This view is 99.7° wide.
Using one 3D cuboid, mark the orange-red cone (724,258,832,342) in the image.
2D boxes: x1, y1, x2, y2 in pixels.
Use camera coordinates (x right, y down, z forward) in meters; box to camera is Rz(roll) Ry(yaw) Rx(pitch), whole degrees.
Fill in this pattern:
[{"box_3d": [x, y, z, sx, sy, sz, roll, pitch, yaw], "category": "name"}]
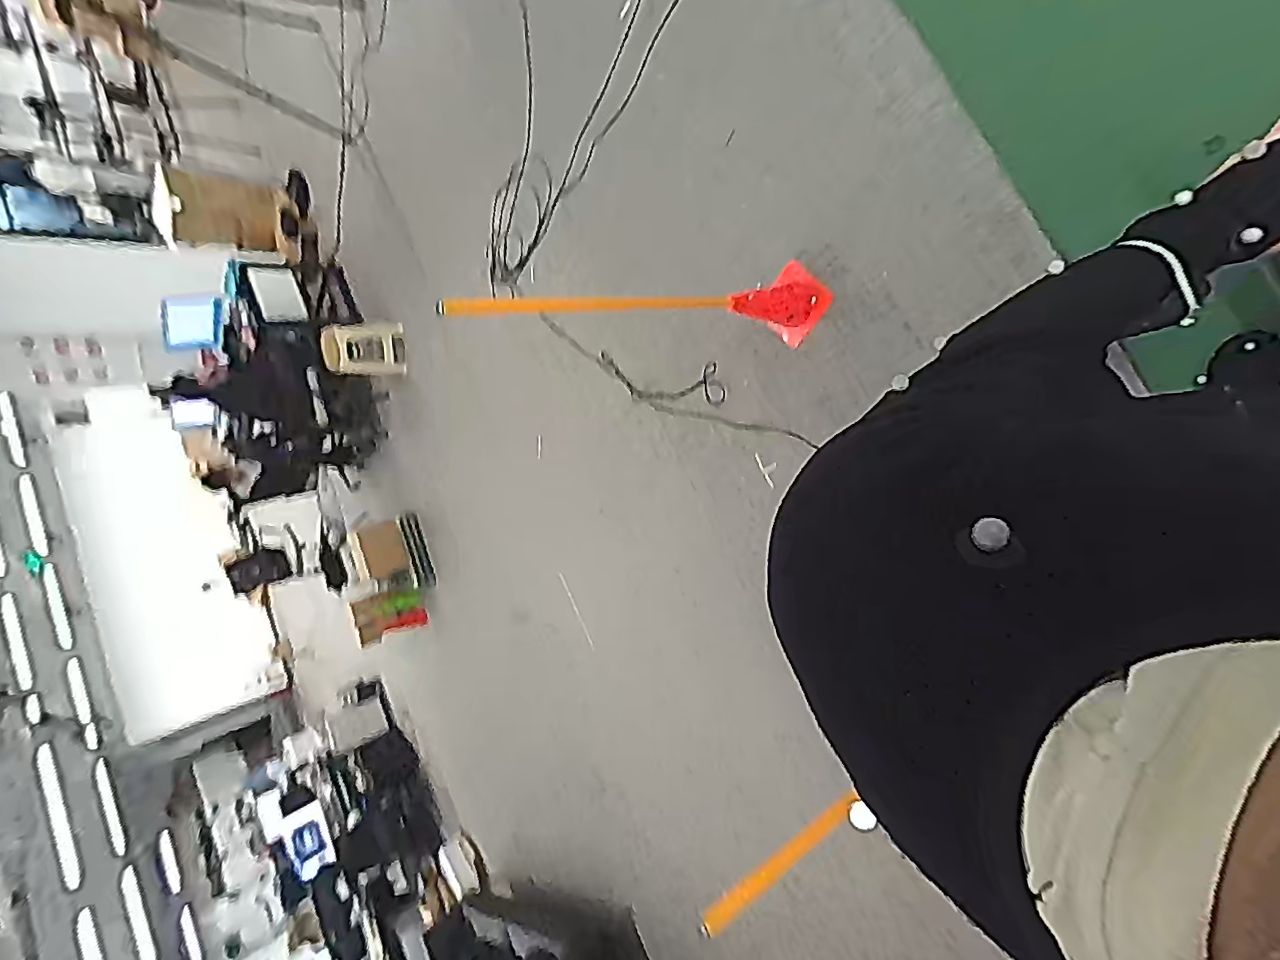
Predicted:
[{"box_3d": [0.367, -0.536, 1.600, 0.199, 0.360, 0.198, 55, 134, 21], "category": "orange-red cone"}]
